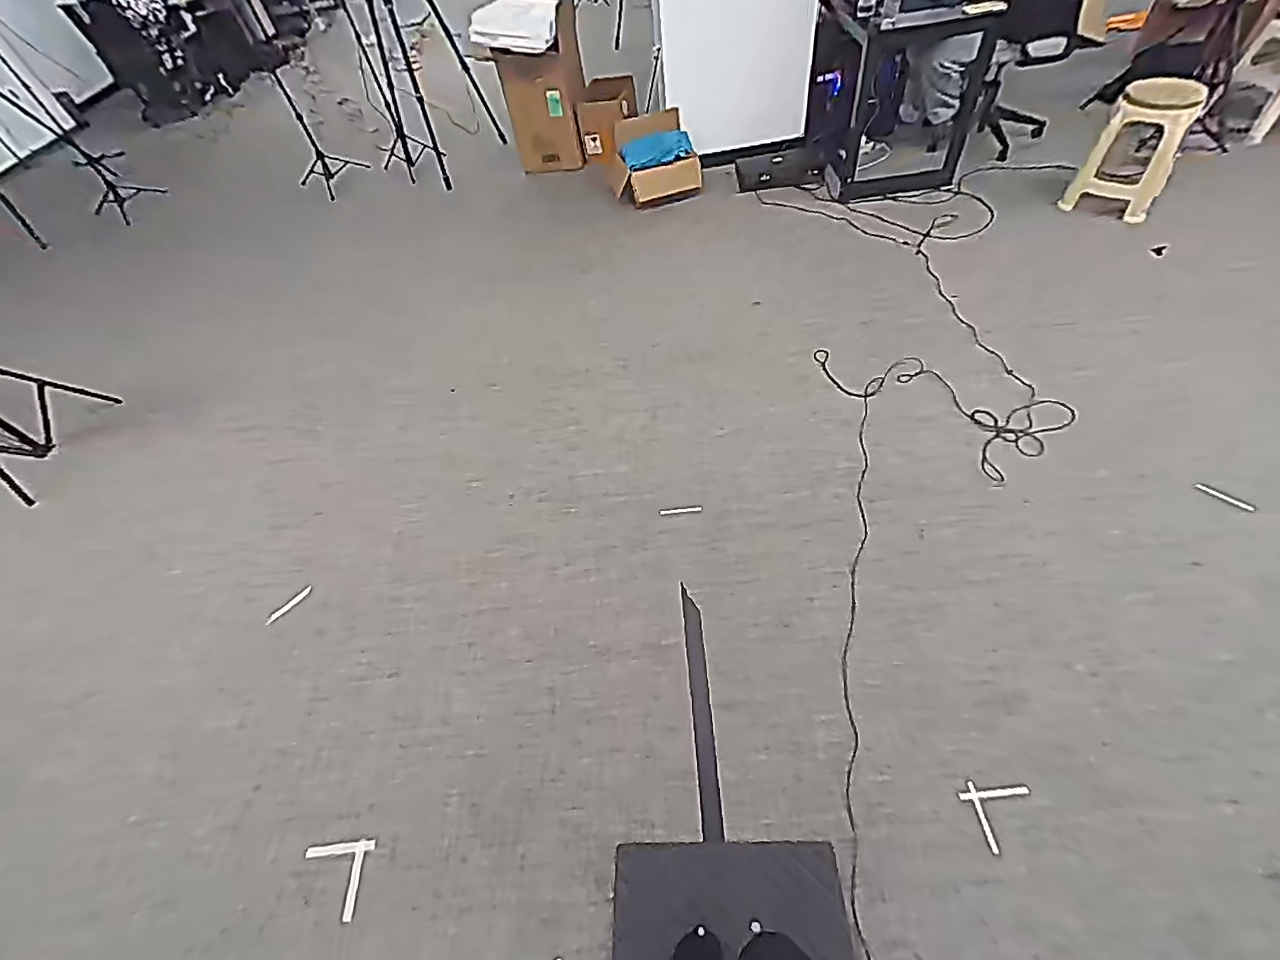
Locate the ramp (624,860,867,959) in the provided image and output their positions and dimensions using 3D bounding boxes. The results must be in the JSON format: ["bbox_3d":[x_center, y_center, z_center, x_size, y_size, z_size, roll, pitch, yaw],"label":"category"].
[{"bbox_3d":[0.207,1.190,0.842,0.509,0.206,0.991,-8,49,5],"label":"ramp"}]
